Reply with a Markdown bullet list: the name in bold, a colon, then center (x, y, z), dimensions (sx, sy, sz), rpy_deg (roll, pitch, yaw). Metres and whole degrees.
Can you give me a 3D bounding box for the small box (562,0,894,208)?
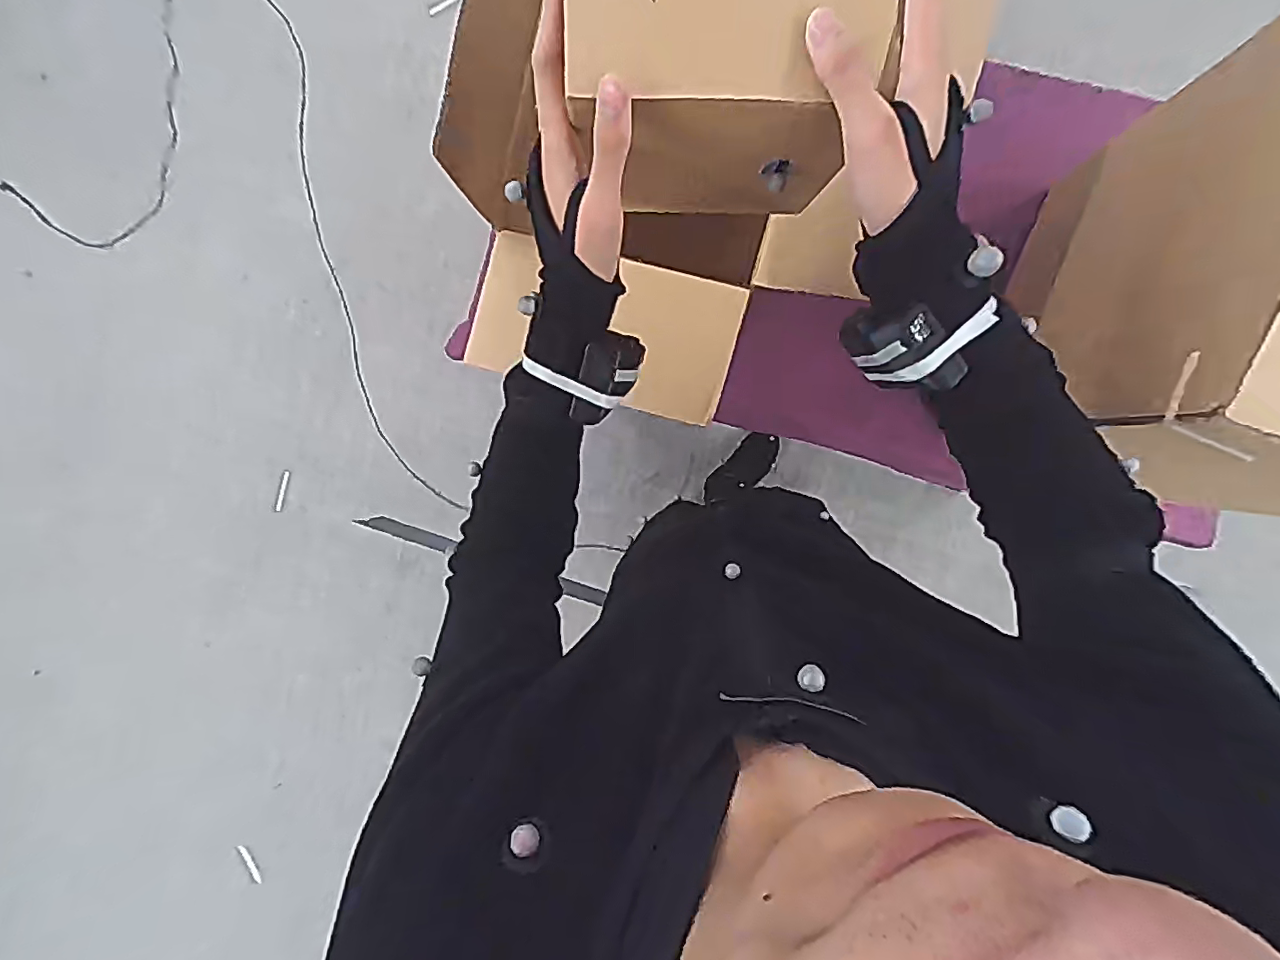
- **small box**: center (0.046, -0.296, 0.356), dimensions (0.179, 0.176, 0.168), rpy_deg (1, 96, -1)
